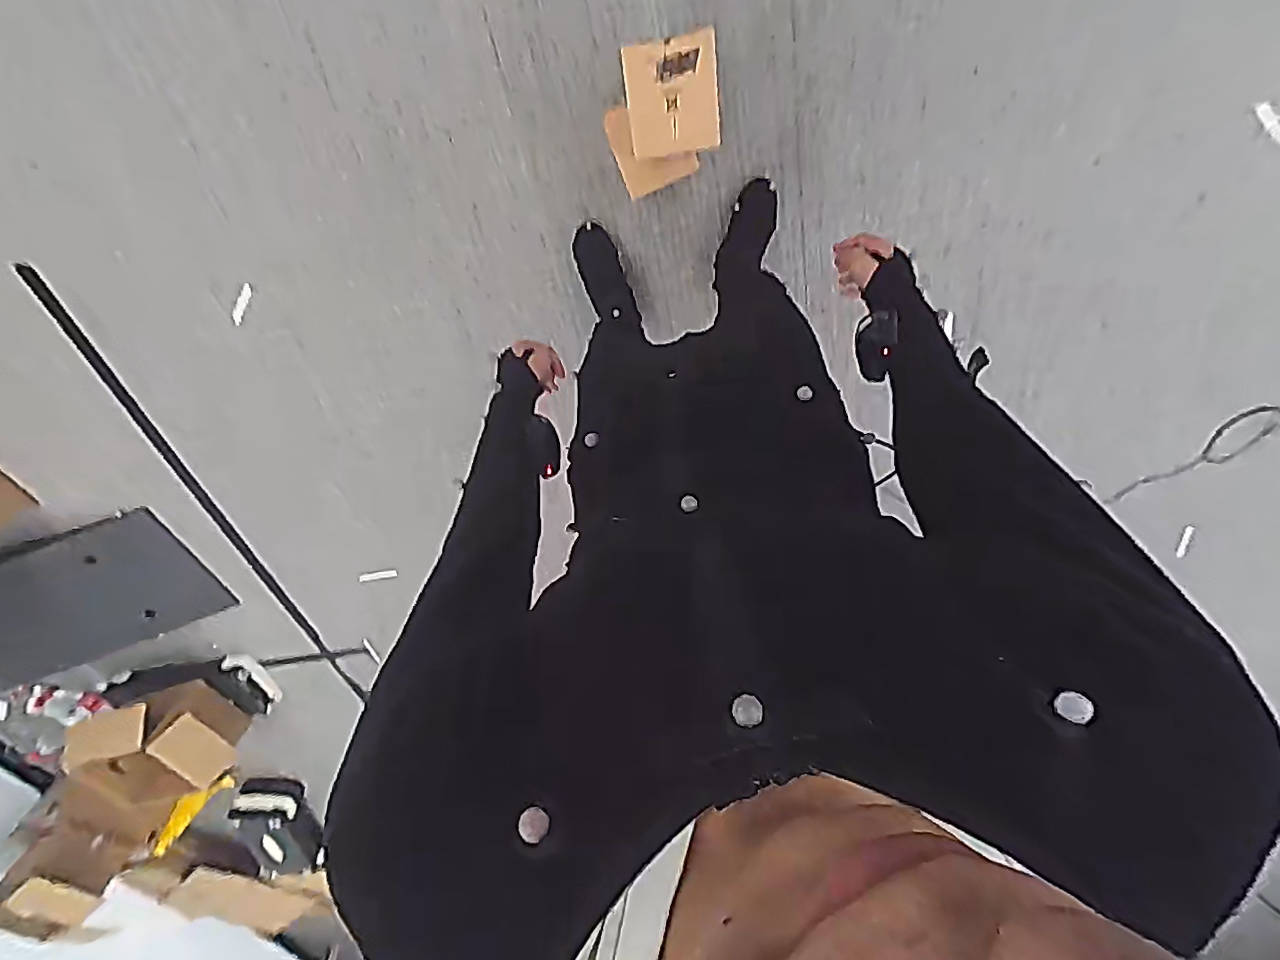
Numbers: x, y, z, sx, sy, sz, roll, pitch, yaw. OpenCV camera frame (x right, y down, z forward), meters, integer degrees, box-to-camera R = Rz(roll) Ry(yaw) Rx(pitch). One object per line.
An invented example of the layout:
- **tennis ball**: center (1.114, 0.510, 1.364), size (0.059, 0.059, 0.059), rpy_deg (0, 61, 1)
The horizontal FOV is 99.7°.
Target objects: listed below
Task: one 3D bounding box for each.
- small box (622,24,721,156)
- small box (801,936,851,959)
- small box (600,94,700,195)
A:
- **small box**: center (0.061, -0.729, 1.026), size (0.168, 0.176, 0.179), rpy_deg (-6, 123, 6)
- **small box**: center (0.712, 1.852, 2.033), size (0.179, 0.176, 0.168), rpy_deg (-12, 123, 9)
- **small box**: center (0.023, -0.761, 1.201), size (0.168, 0.176, 0.179), rpy_deg (-19, 121, 13)
